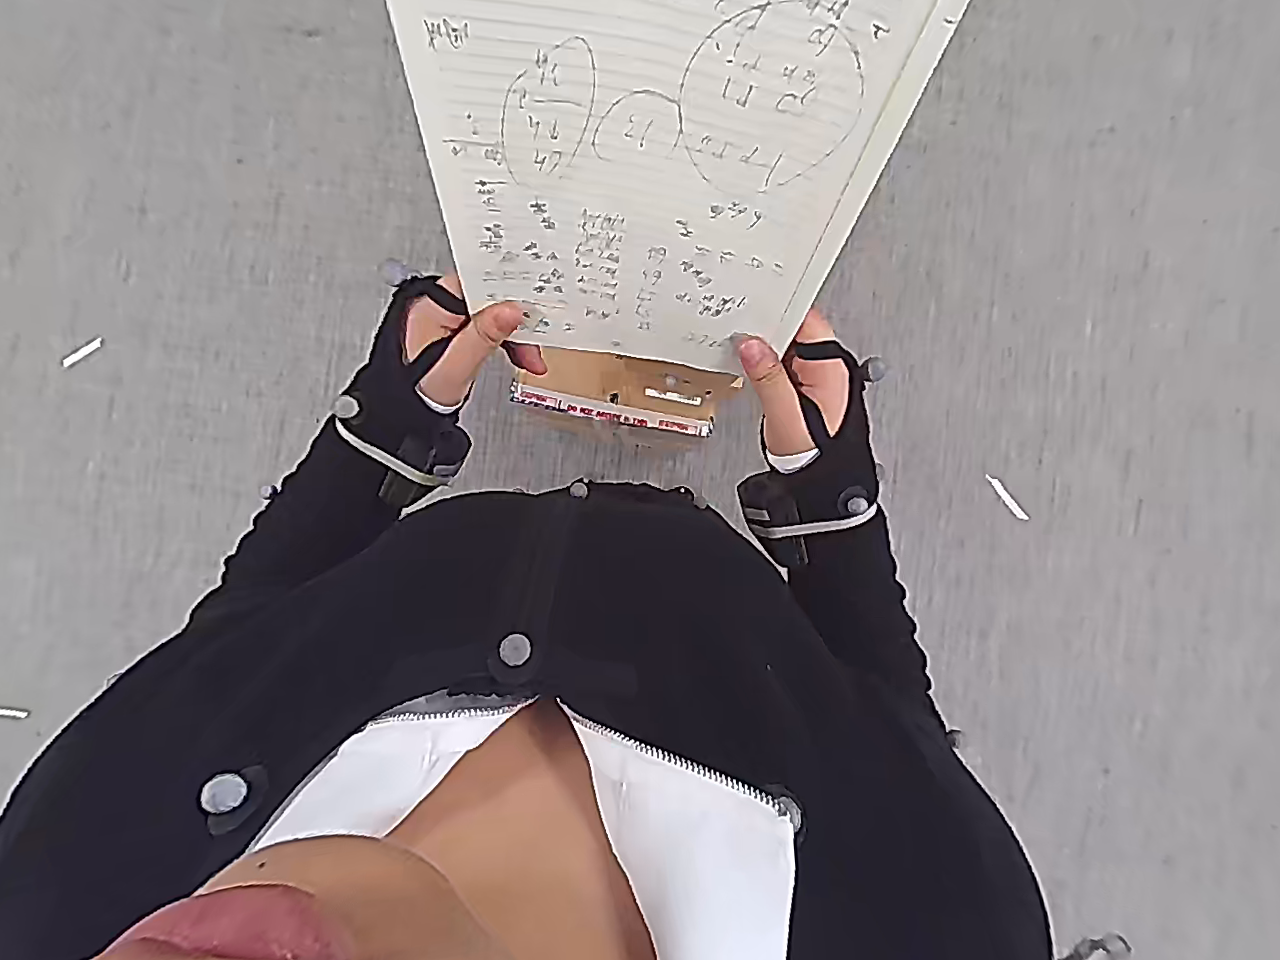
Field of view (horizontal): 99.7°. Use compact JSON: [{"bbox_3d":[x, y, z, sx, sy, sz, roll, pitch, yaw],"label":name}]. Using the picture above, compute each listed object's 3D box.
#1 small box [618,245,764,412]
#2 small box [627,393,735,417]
[{"bbox_3d":[0.064,-0.209,0.793,0.168,0.176,0.179,13,91,-3],"label":"small box"},{"bbox_3d":[0.077,-0.209,0.958,0.179,0.176,0.168,9,90,-2],"label":"small box"}]
